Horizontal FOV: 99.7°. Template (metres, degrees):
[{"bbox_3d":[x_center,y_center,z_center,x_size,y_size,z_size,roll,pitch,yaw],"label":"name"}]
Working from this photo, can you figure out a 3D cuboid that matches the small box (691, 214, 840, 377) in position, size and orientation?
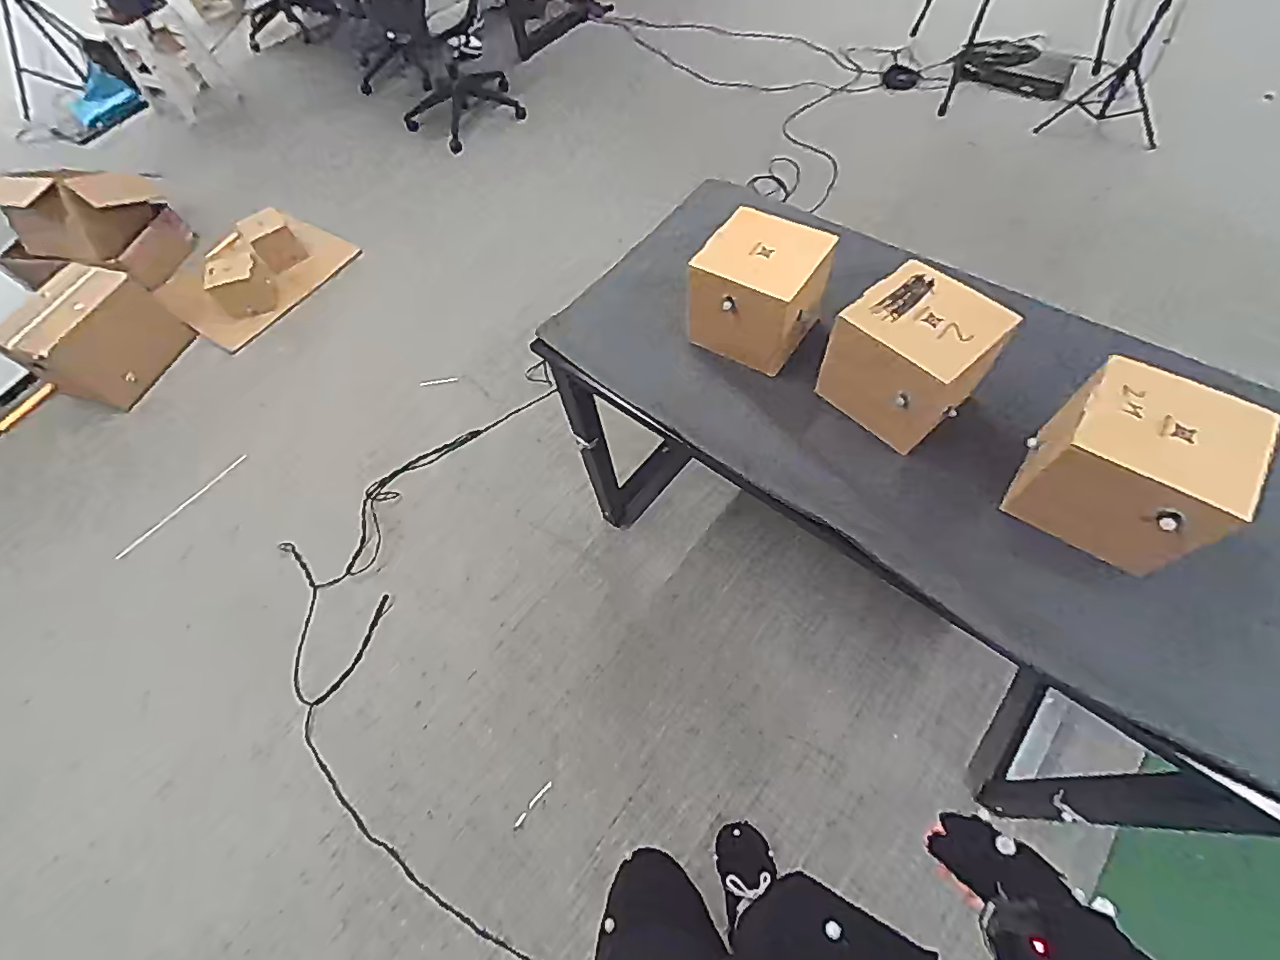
[{"bbox_3d":[0.201,-0.300,0.902,0.179,0.176,0.168,29,67,21],"label":"small box"}]

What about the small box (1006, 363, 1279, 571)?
[{"bbox_3d":[0.613,-0.007,0.679,0.179,0.176,0.168,32,67,23],"label":"small box"}]
